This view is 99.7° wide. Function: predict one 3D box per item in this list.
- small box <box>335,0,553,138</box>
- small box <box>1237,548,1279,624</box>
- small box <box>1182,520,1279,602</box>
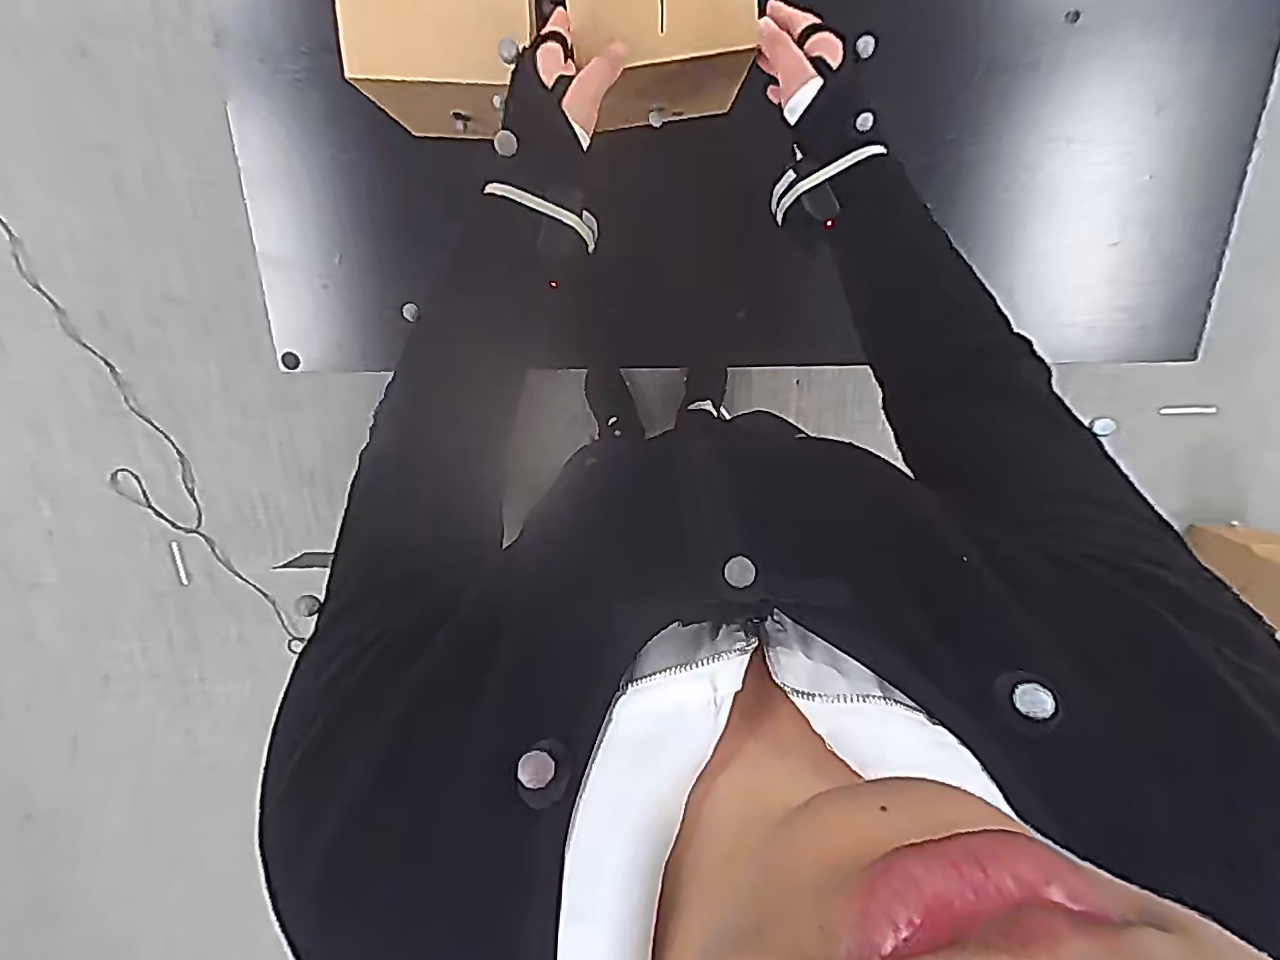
[{"bbox_3d":[-0.178,-0.458,0.531,0.168,0.176,0.179,1,107,-2],"label":"small box"},{"bbox_3d":[1.694,0.275,1.360,0.179,0.176,0.168,-4,107,-1],"label":"small box"},{"bbox_3d":[1.694,0.224,1.517,0.168,0.176,0.179,-2,107,-1],"label":"small box"}]
